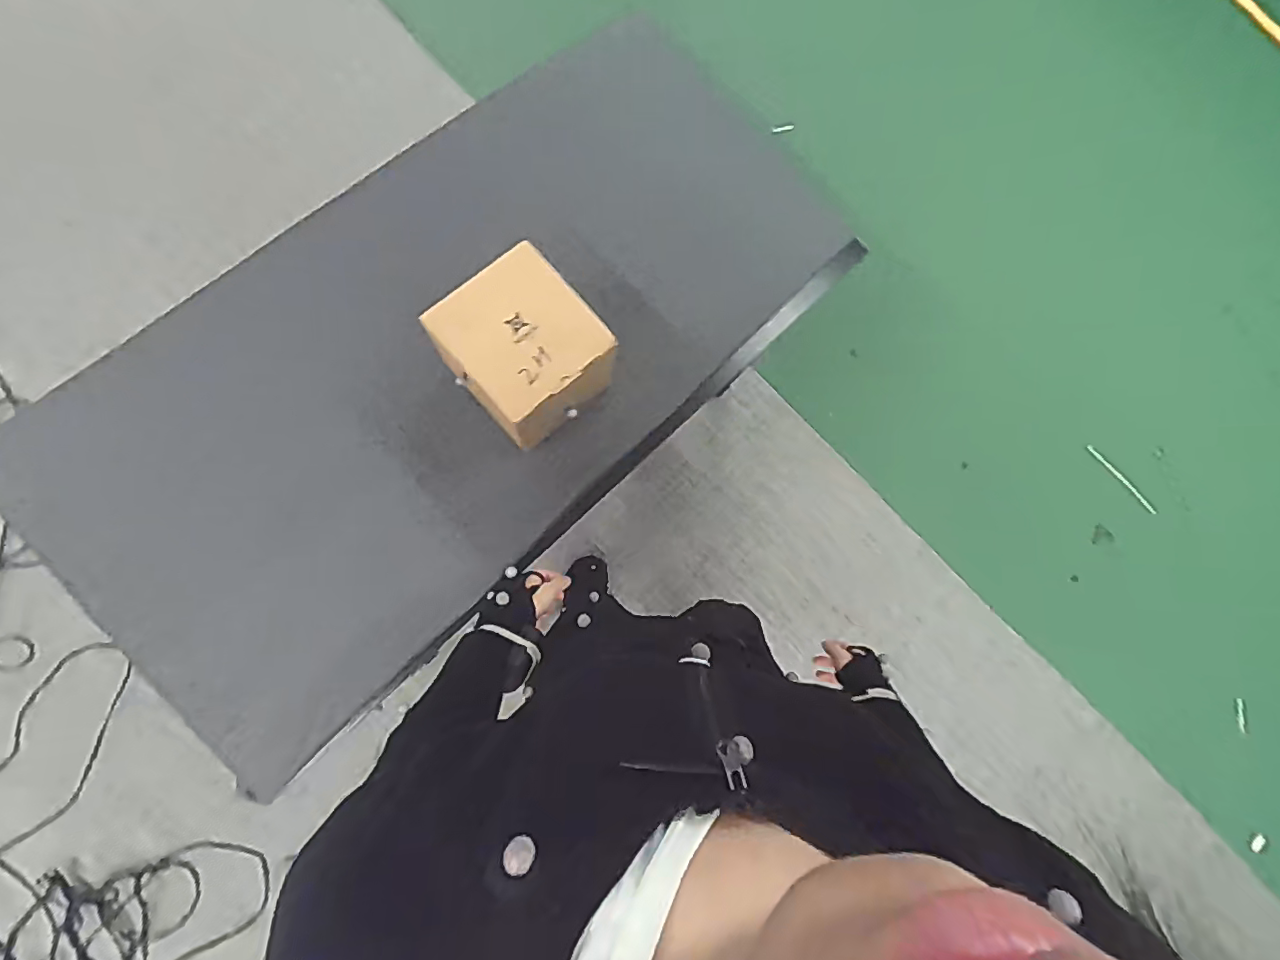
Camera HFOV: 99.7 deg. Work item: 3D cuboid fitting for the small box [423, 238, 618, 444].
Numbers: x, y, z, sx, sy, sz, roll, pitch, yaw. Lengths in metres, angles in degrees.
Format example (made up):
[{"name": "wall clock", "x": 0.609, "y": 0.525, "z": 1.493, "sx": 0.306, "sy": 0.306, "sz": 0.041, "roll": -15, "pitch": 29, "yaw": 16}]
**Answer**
[{"name": "small box", "x": -0.152, "y": -0.172, "z": 0.726, "sx": 0.168, "sy": 0.176, "sz": 0.179, "roll": -42, "pitch": 89, "yaw": -11}]
